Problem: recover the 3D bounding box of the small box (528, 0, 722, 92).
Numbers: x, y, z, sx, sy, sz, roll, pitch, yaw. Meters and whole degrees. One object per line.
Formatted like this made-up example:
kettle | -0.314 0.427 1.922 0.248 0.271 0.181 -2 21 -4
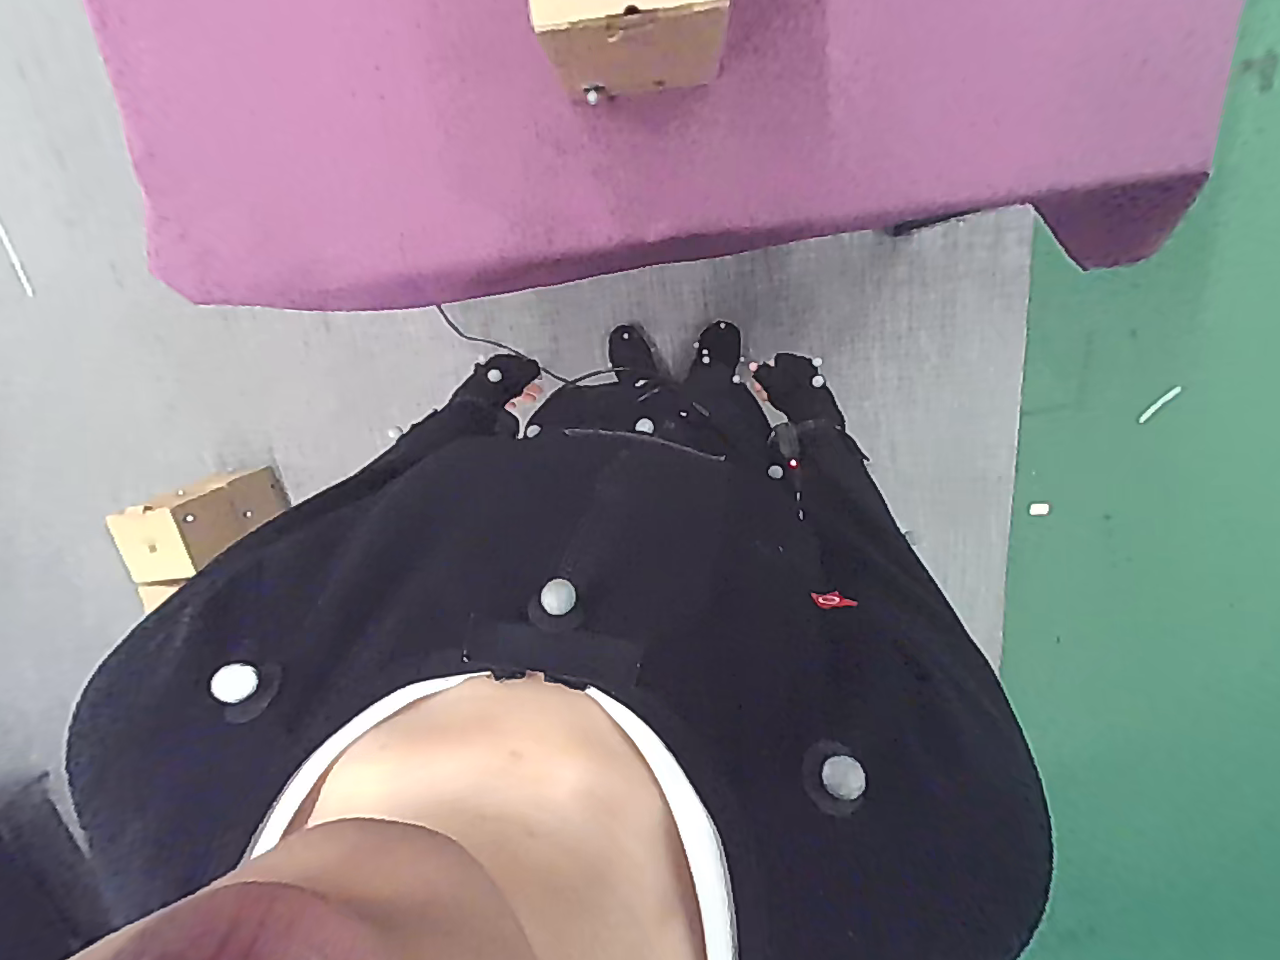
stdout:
small box | -0.014 -0.490 0.500 0.168 0.176 0.179 -5 107 4
